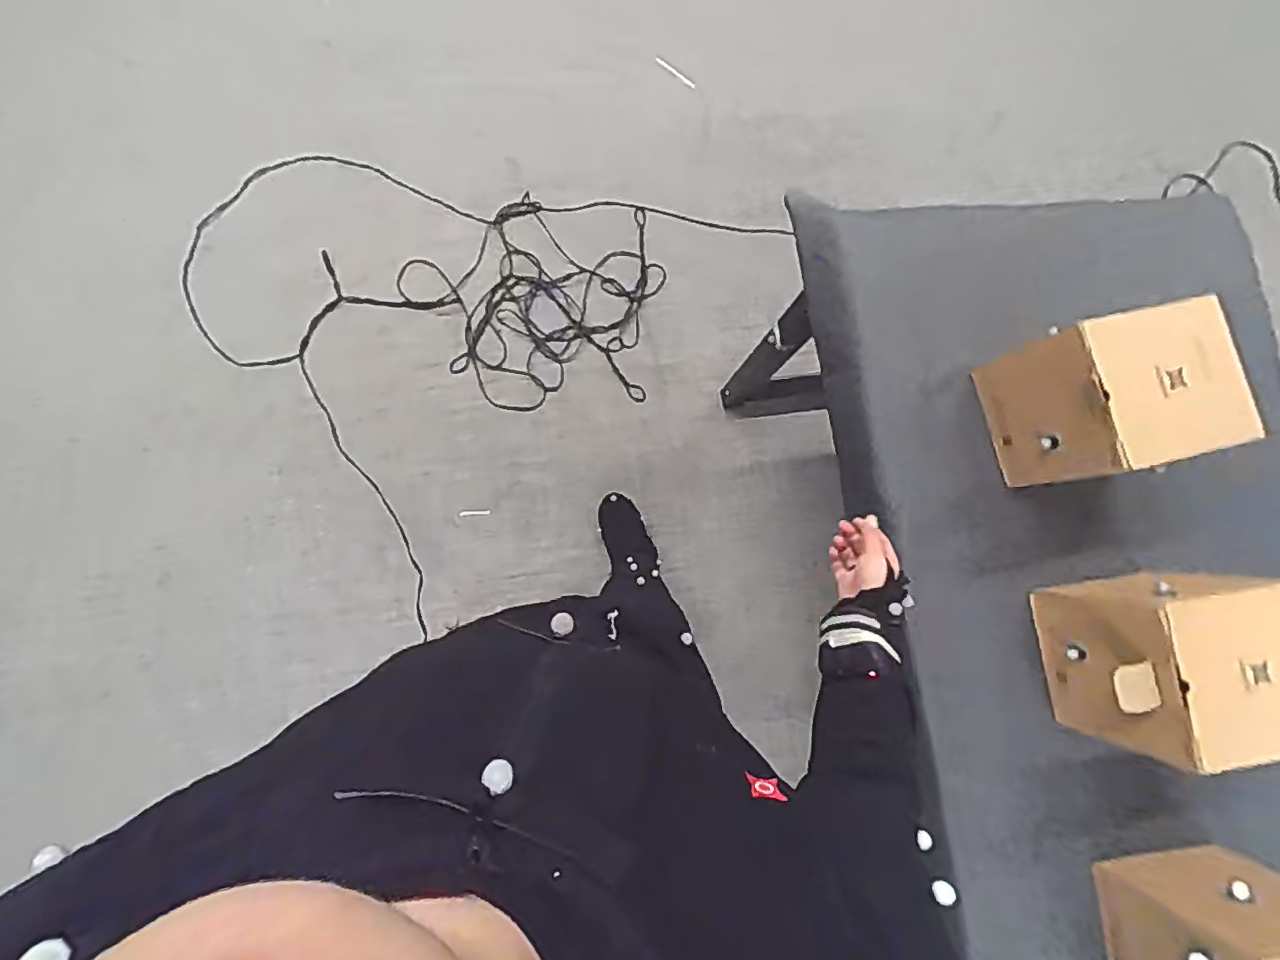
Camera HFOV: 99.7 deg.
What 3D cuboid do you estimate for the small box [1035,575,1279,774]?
[{"bbox_3d":[0.610,0.205,0.621,0.179,0.176,0.168,-7,84,-6],"label":"small box"}]

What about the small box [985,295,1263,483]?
[{"bbox_3d":[0.558,-0.098,0.655,0.179,0.176,0.168,-13,85,-8],"label":"small box"}]
